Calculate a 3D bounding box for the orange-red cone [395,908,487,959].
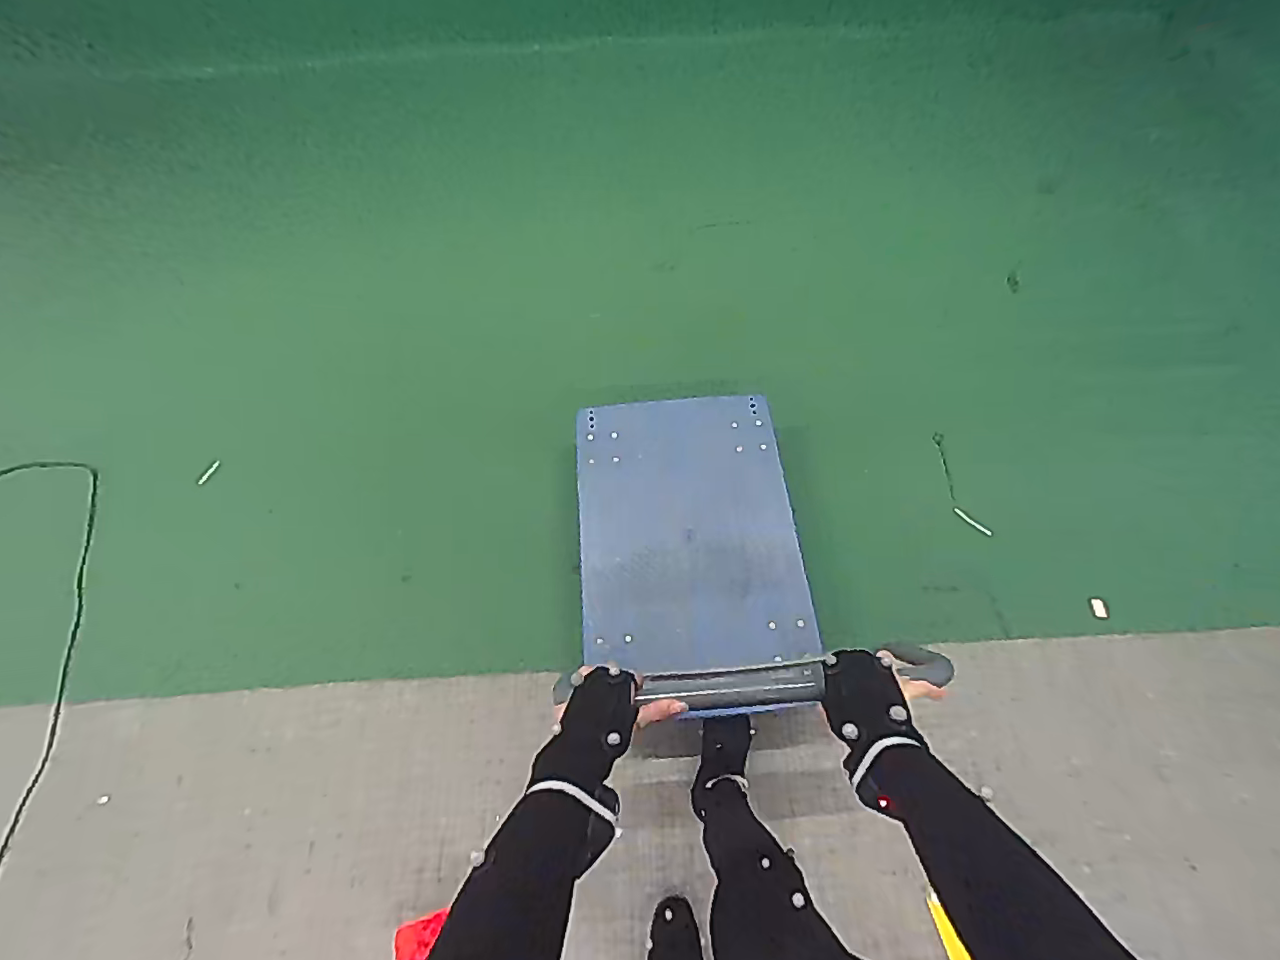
[{"bbox_3d":[-0.436,0.994,1.020,0.199,0.360,0.198,-17,63,-5],"label":"orange-red cone"}]
